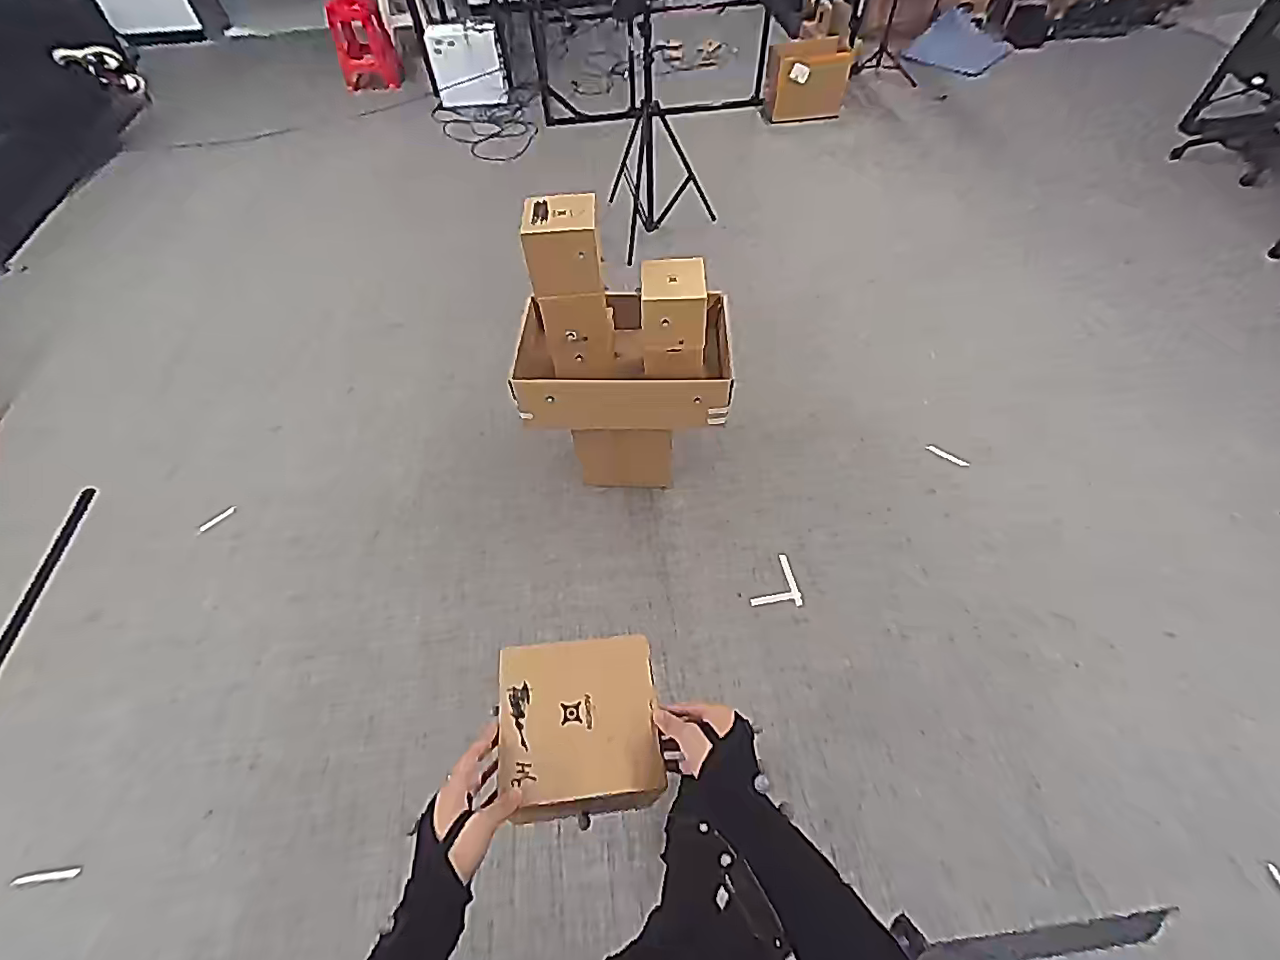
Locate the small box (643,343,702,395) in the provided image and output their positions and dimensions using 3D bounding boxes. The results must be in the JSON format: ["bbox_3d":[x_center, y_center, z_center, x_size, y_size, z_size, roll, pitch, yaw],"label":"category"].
[{"bbox_3d":[0.094,-0.363,1.583,0.168,0.176,0.179,-2,54,1],"label":"small box"}]

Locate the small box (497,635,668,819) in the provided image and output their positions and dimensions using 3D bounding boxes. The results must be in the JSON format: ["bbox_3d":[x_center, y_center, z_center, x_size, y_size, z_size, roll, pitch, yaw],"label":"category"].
[{"bbox_3d":[-0.074,0.301,0.657,0.179,0.176,0.168,-2,53,-9],"label":"small box"}]

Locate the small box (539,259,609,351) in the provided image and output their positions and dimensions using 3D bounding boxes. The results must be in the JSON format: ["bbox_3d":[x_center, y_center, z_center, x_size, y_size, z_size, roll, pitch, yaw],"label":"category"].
[{"bbox_3d":[-0.176,-0.476,1.474,0.168,0.176,0.179,-5,54,0],"label":"small box"}]

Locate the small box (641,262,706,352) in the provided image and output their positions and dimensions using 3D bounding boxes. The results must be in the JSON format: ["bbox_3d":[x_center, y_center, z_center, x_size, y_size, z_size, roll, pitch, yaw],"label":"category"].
[{"bbox_3d":[0.089,-0.459,1.452,0.168,0.176,0.179,-1,54,1],"label":"small box"}]

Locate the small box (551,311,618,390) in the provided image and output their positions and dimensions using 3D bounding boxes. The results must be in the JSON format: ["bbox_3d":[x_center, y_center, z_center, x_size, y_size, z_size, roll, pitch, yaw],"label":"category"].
[{"bbox_3d":[-0.160,-0.380,1.607,0.179,0.176,0.168,-2,55,0],"label":"small box"}]
